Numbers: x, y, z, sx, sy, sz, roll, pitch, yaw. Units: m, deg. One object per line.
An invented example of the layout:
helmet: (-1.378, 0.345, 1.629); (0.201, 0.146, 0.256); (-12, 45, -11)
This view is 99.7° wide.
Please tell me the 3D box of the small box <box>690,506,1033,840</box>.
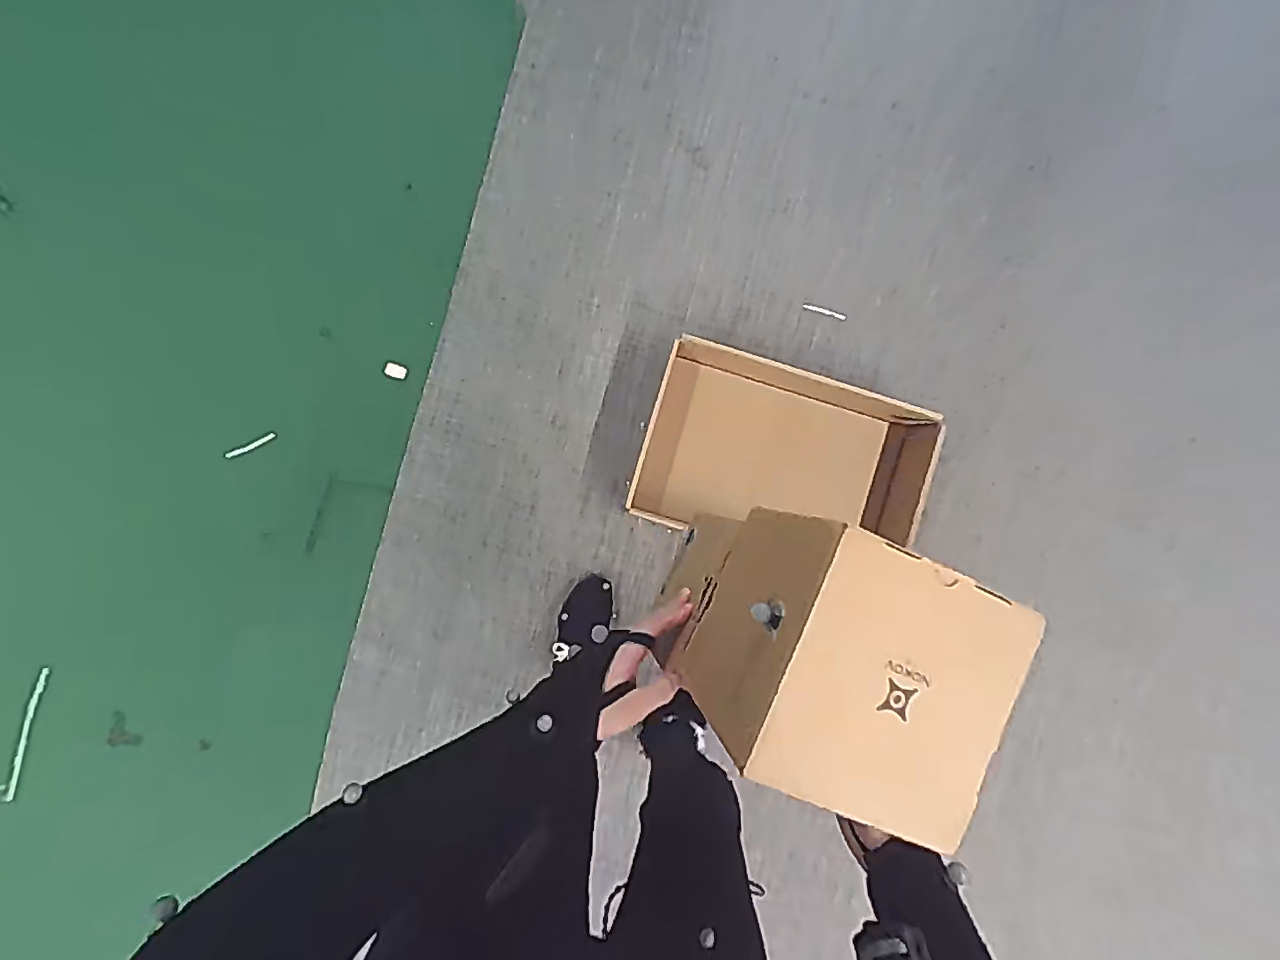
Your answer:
small box: (0.154, 0.133, 0.438); (0.168, 0.176, 0.179); (24, 86, -8)

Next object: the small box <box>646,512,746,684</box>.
small box: (0.123, 0.143, 0.597); (0.179, 0.176, 0.168); (26, 87, -9)
